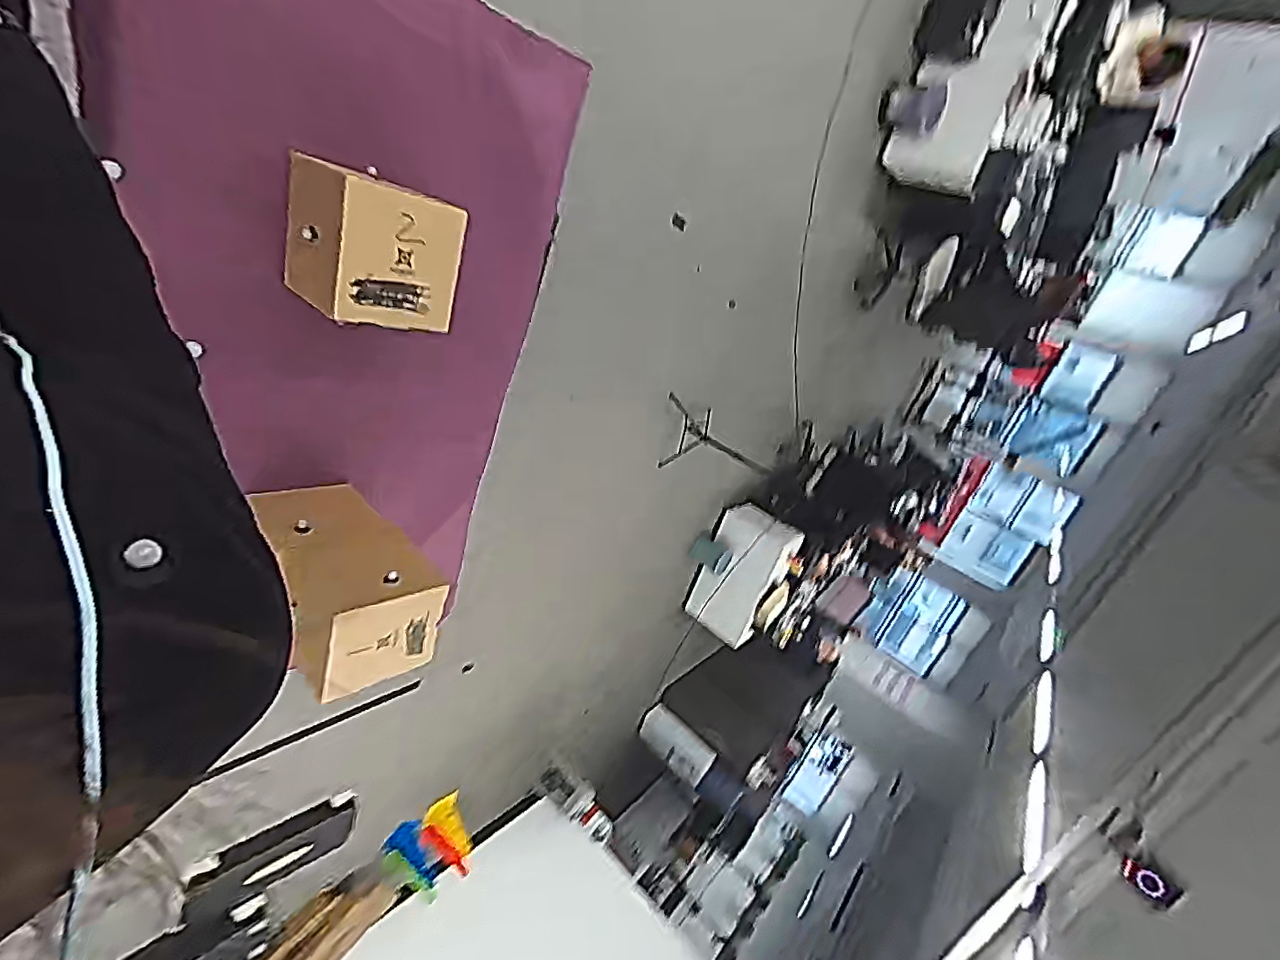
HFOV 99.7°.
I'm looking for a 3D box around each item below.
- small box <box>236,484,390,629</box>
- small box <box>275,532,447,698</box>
[{"bbox_3d":[-0.566,0.120,0.931,0.179,0.176,0.168,-9,126,-52],"label":"small box"},{"bbox_3d":[-0.442,0.198,0.857,0.179,0.176,0.168,-8,125,-52],"label":"small box"}]
